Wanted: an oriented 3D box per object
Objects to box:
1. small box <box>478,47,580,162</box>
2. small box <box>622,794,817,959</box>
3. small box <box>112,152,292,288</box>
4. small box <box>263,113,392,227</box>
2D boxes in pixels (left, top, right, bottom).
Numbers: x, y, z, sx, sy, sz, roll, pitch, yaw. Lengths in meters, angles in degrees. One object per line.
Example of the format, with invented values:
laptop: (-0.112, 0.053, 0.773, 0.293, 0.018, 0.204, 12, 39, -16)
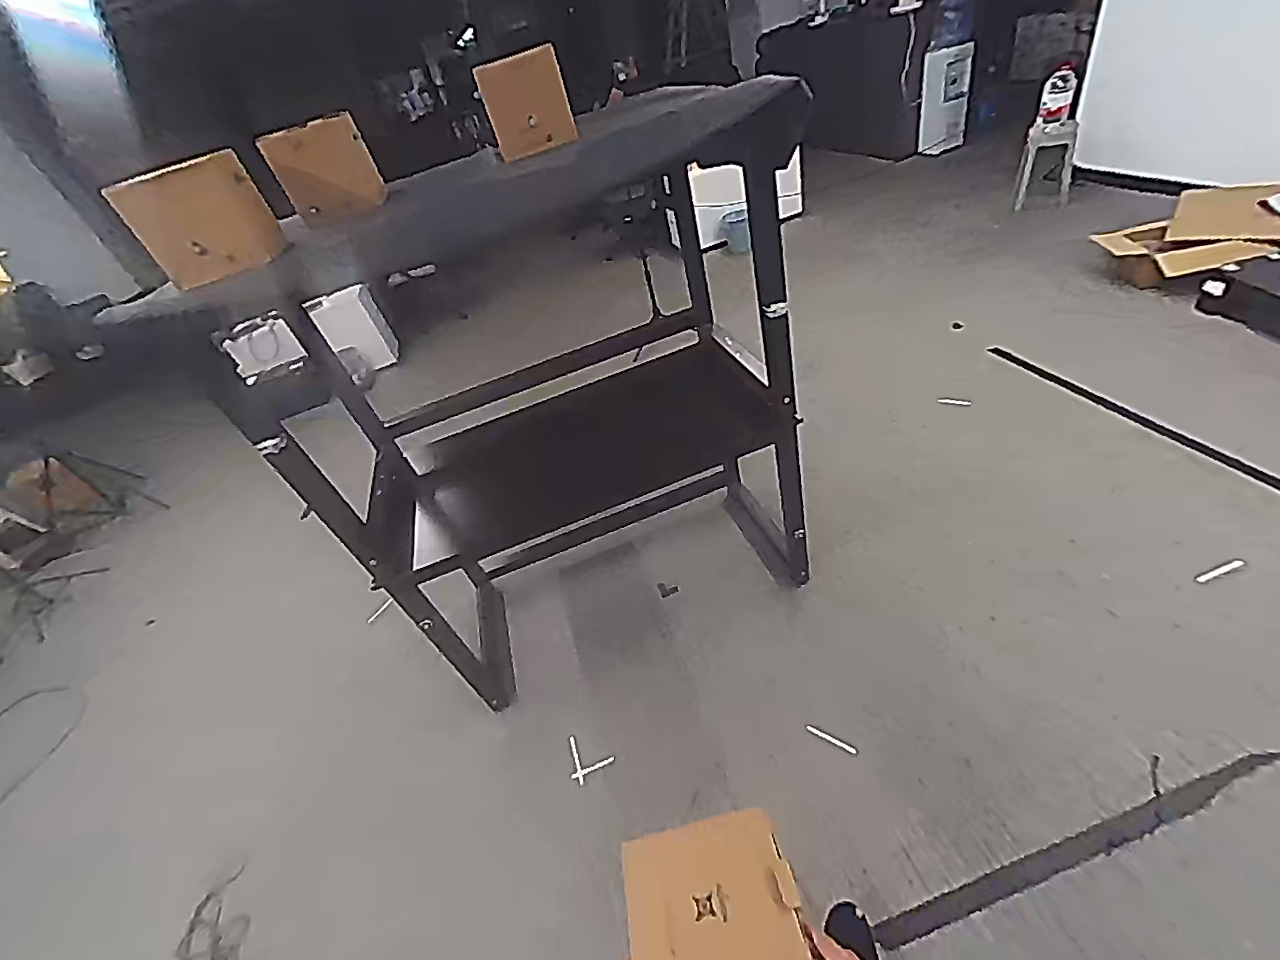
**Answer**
small box: (-0.243, -0.817, 1.183, 0.168, 0.176, 0.179, -20, 39, -2)
small box: (0.089, 0.492, 0.598, 0.179, 0.176, 0.168, -17, 28, 2)
small box: (-0.760, -0.464, 0.966, 0.168, 0.176, 0.179, -23, 40, -7)
small box: (-0.659, -0.665, 1.167, 0.168, 0.176, 0.179, -21, 38, -4)
